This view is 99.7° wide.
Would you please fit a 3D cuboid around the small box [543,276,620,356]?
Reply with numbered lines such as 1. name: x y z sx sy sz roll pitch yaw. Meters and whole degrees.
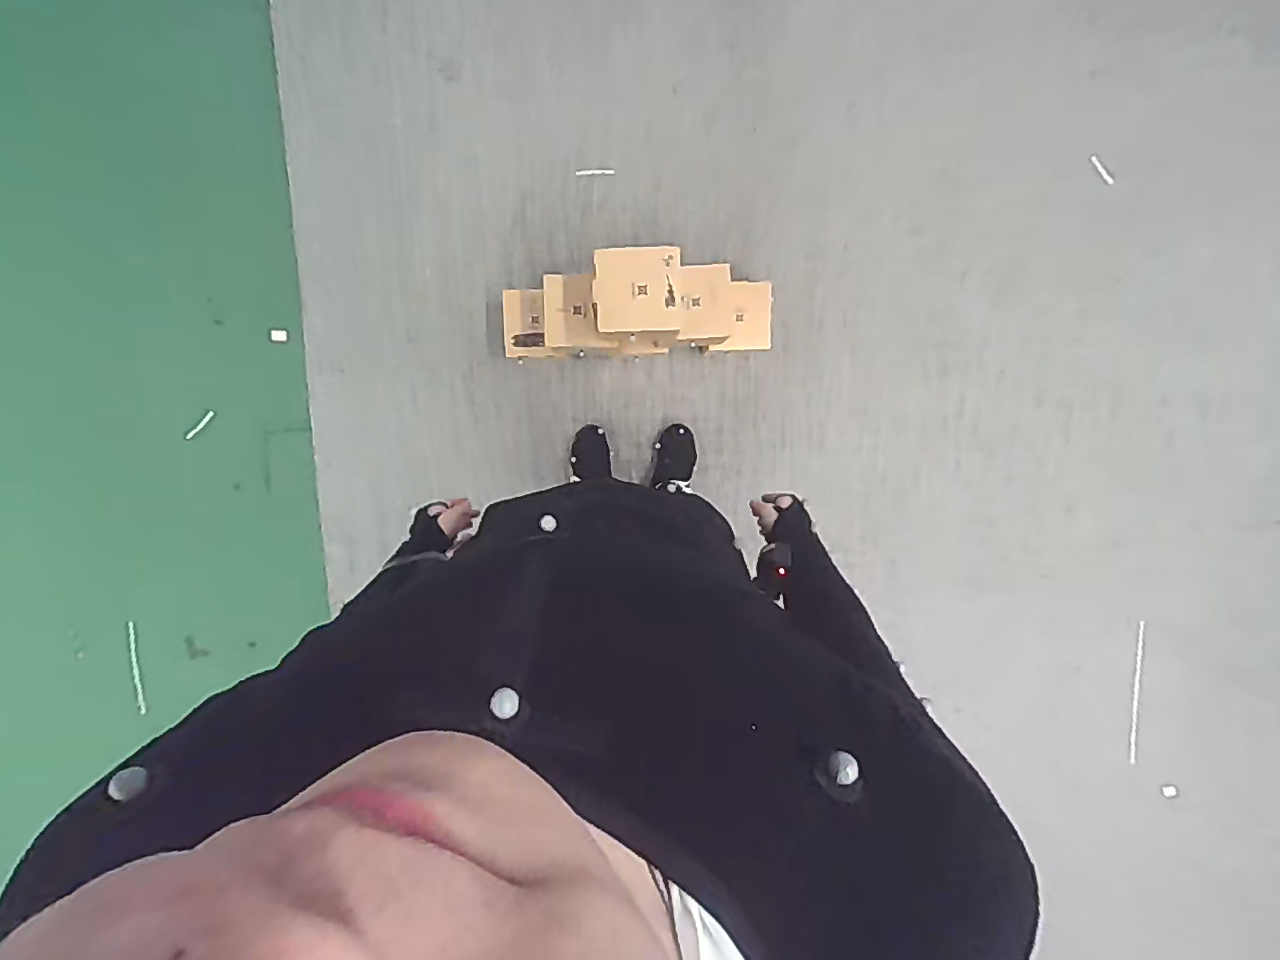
1. small box: -0.137 -0.399 1.331 0.179 0.176 0.168 0 97 1

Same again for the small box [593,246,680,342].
1. small box: -0.004 -0.393 1.166 0.179 0.176 0.168 -2 98 1

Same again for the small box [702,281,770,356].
1. small box: 0.259 -0.437 1.489 0.168 0.176 0.179 -2 97 1

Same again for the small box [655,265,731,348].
1. small box: 0.122 -0.419 1.328 0.179 0.176 0.168 -4 98 -1
